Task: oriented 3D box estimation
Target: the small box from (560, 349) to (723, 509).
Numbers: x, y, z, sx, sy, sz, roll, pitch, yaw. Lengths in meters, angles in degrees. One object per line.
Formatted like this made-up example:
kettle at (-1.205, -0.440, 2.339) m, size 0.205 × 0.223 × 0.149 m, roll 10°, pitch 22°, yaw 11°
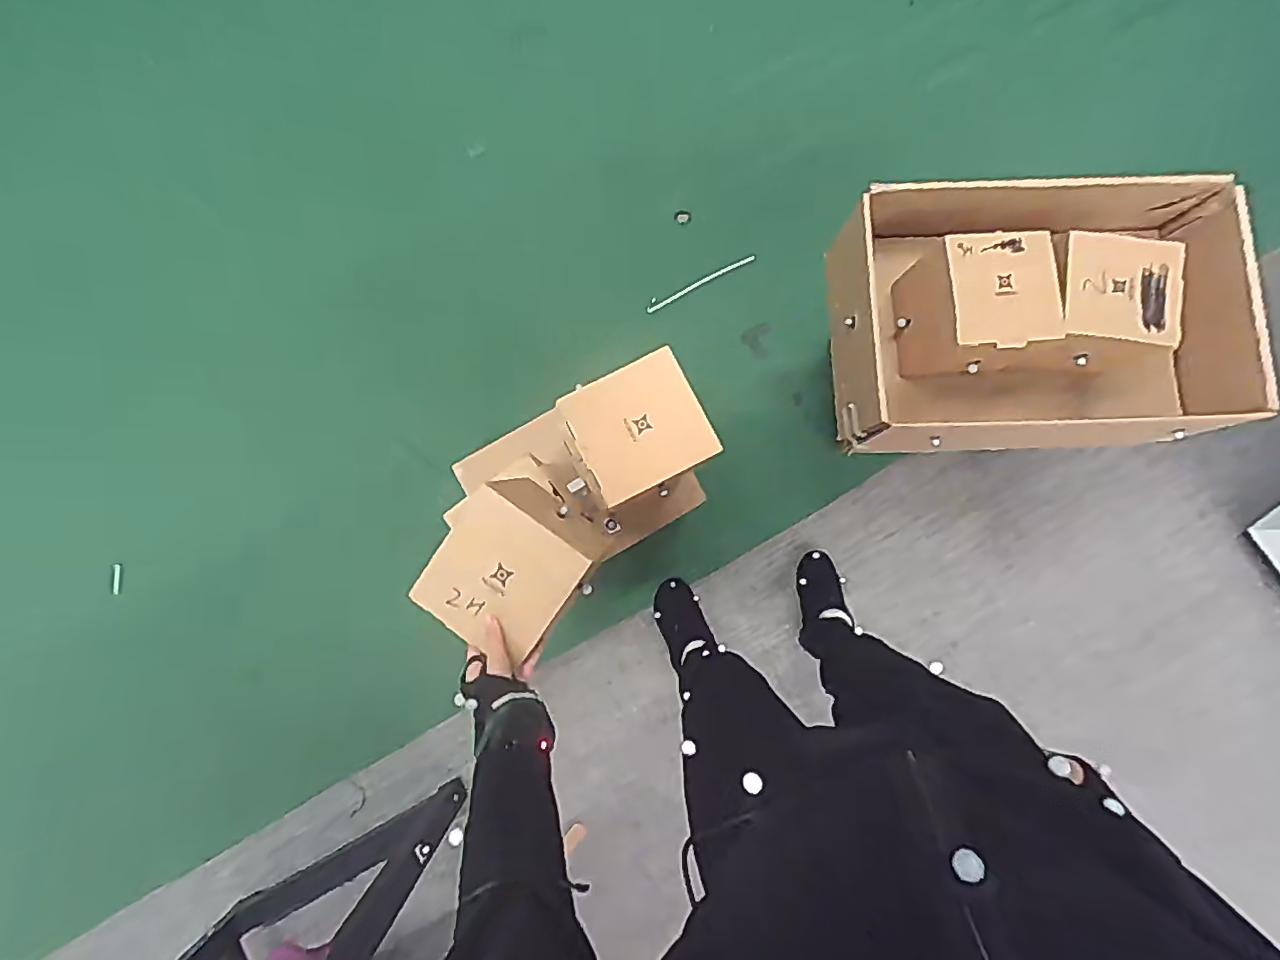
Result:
small box at (0.000, -0.067, 0.813) m, size 0.179 × 0.176 × 0.168 m, roll -27°, pitch 86°, yaw -2°

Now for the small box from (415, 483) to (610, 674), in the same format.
small box at (-0.155, 0.116, 0.728) m, size 0.168 × 0.176 × 0.179 m, roll 35°, pitch 97°, yaw 6°
